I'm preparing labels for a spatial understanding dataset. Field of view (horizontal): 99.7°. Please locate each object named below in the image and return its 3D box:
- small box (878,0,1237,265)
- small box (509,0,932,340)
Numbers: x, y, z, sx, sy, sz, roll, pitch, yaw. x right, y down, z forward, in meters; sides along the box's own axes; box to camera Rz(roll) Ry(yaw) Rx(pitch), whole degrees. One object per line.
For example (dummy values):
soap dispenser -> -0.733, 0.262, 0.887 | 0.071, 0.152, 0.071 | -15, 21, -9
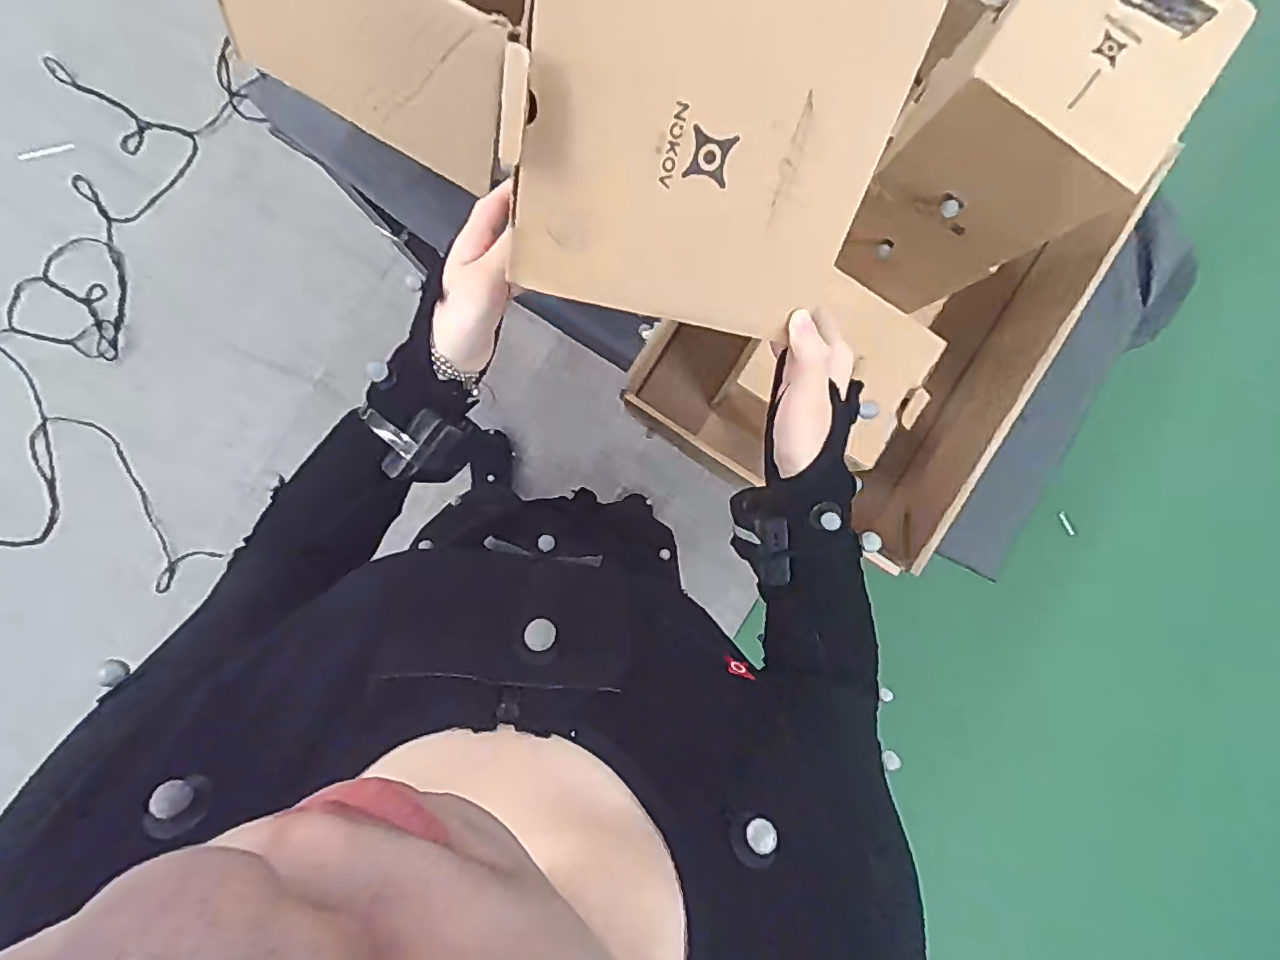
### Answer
small box -> 0.364, -0.343, 0.510 | 0.168, 0.176, 0.179 | 34, 91, -4
small box -> 0.023, -0.211, 0.333 | 0.179, 0.176, 0.168 | 8, 128, -12
